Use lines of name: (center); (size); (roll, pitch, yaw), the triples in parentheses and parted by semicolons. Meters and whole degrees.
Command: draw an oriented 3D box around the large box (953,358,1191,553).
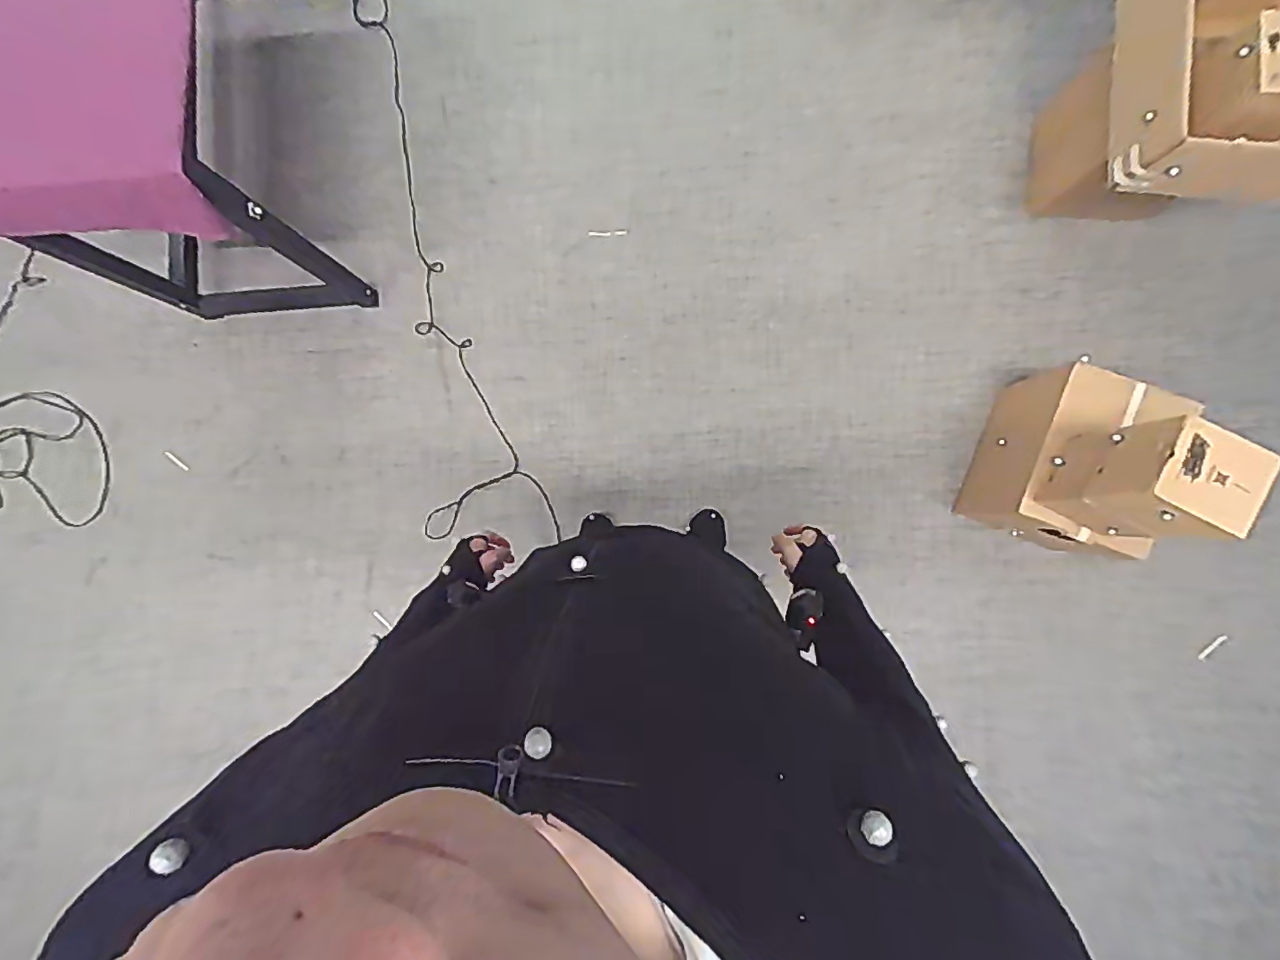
large box: (1.124, -0.052, 1.451); (0.320, 0.320, 0.408); (22, 88, 3)

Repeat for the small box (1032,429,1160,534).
small box: (1.041, 0.005, 1.208); (0.179, 0.176, 0.168); (28, 89, 5)

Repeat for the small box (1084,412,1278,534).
small box: (1.026, -0.008, 1.045); (0.179, 0.176, 0.168); (29, 89, 4)
